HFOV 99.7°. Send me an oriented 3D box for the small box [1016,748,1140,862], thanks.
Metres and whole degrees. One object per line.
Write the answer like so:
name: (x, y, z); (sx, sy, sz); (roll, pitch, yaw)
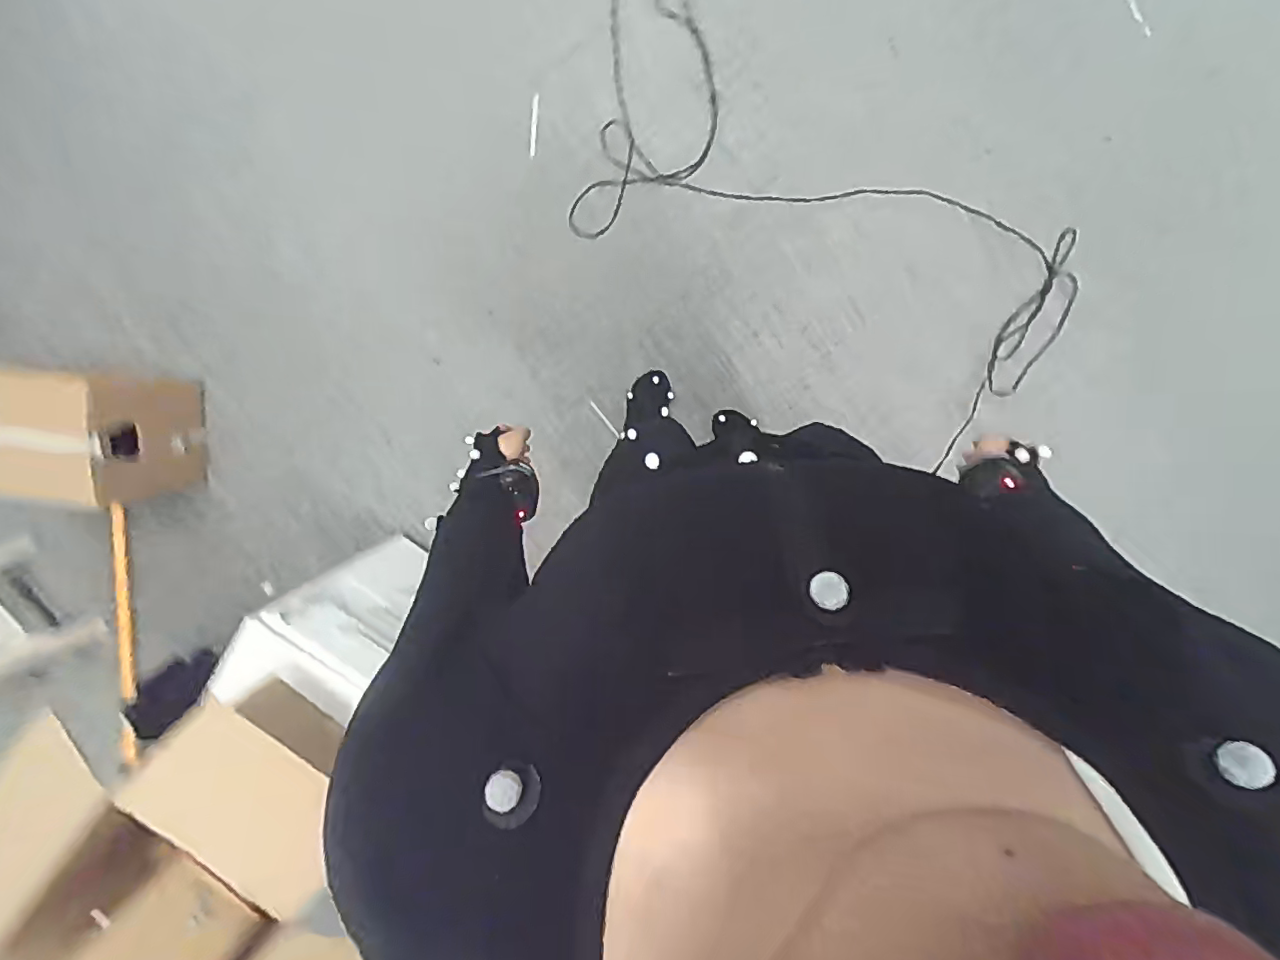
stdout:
small box: (1.202, 0.891, 1.498); (0.168, 0.176, 0.179); (-37, 95, 9)
